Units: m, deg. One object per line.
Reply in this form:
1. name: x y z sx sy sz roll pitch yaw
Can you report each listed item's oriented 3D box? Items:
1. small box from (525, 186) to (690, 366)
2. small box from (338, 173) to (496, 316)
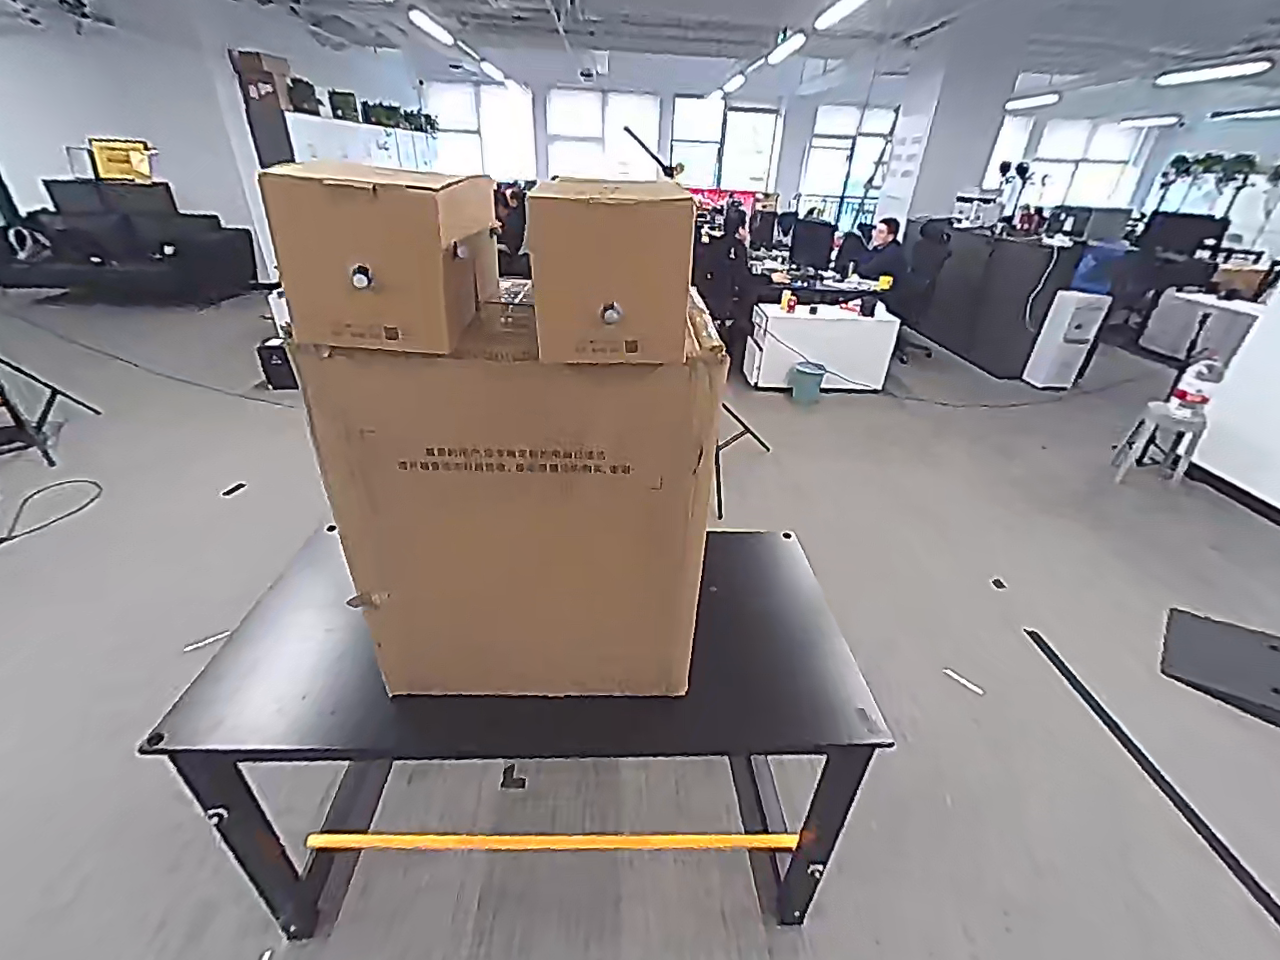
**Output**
1. small box: -0.036 -0.245 0.641 0.168 0.176 0.179 -1 33 -2
2. small box: -0.312 -0.350 0.799 0.168 0.176 0.179 0 30 -4
